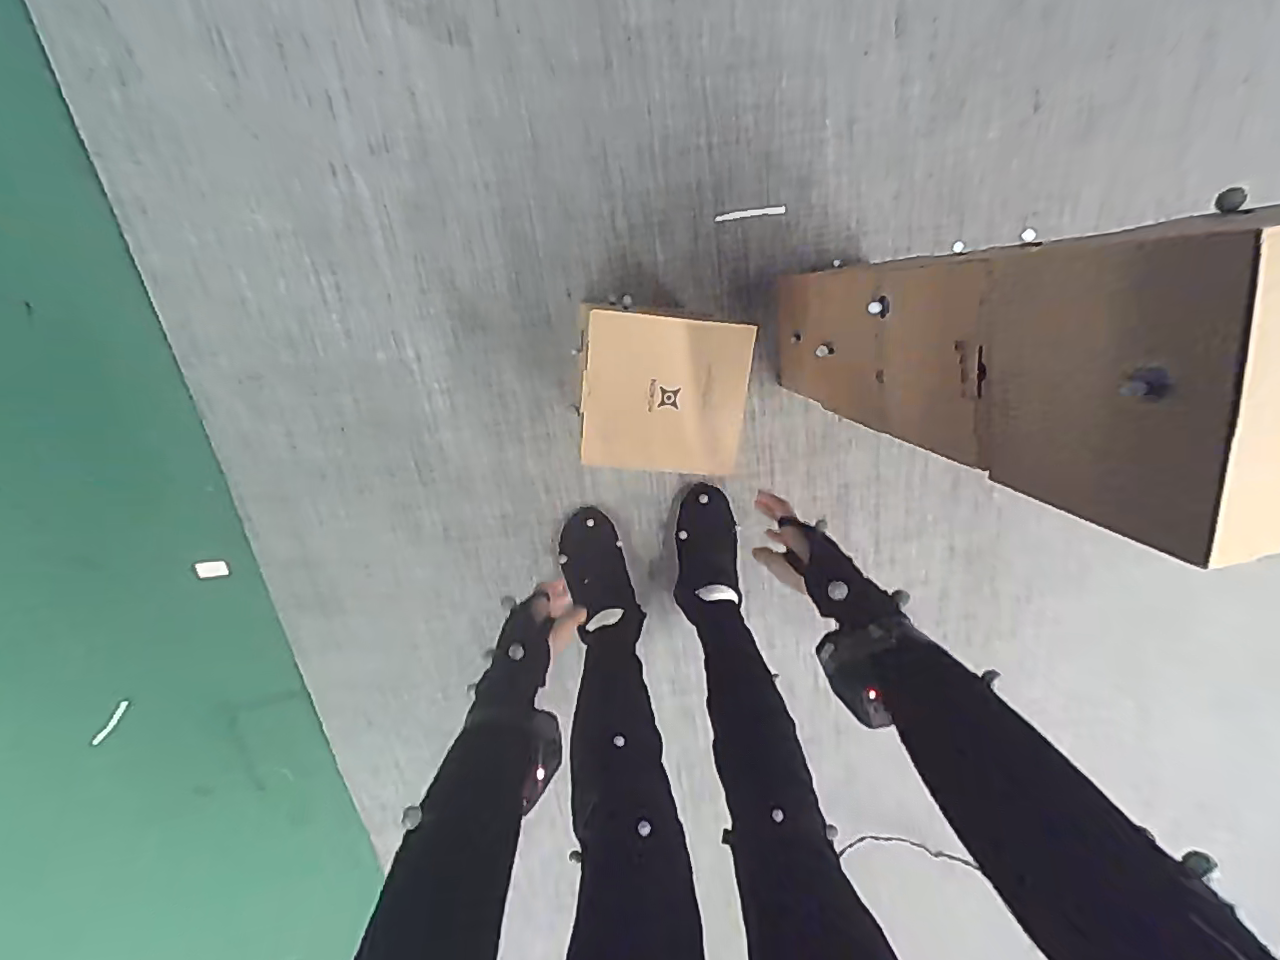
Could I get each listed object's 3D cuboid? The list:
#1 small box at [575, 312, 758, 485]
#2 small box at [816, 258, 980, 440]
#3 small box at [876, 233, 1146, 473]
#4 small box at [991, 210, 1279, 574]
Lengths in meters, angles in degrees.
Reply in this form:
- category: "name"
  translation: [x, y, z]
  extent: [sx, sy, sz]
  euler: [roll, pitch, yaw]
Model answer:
- category: "small box"
  translation: [0.019, -0.103, 0.641]
  extent: [0.179, 0.176, 0.168]
  euler: [5, 108, -7]
- category: "small box"
  translation: [0.327, -0.164, 0.653]
  extent: [0.168, 0.176, 0.179]
  euler: [-11, 109, -3]
- category: "small box"
  translation: [0.334, -0.118, 0.495]
  extent: [0.179, 0.176, 0.168]
  euler: [-11, 108, -3]
- category: "small box"
  translation: [0.354, -0.069, 0.339]
  extent: [0.168, 0.176, 0.179]
  euler: [-12, 108, -2]
